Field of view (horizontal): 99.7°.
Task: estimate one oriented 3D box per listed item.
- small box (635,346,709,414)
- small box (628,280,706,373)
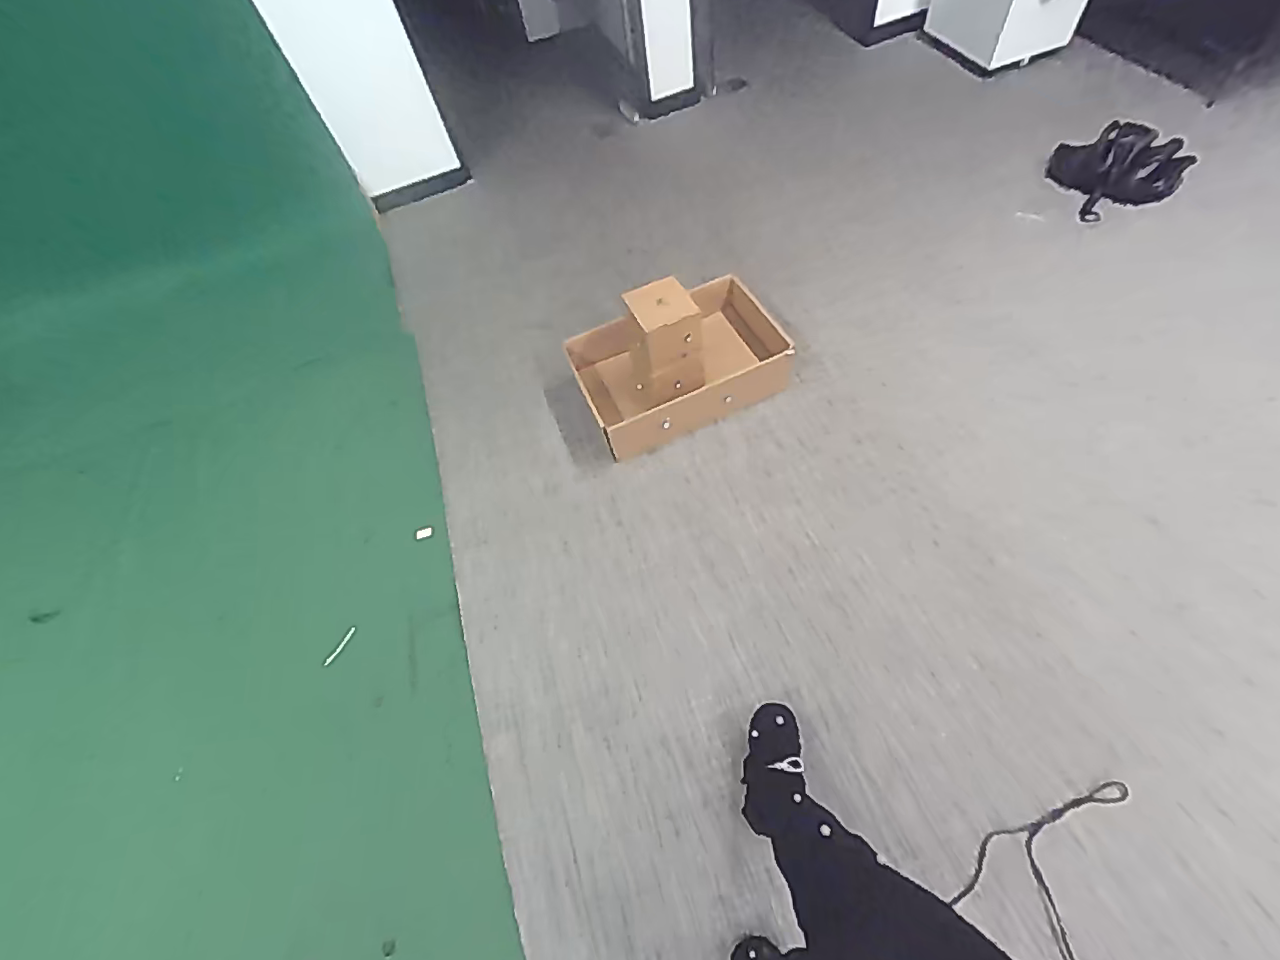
[{"bbox_3d":[0.104,-0.337,1.677,0.179,0.176,0.168,-25,57,-6],"label":"small box"},{"bbox_3d":[0.083,-0.430,1.547,0.168,0.176,0.179,-22,56,-8],"label":"small box"}]
